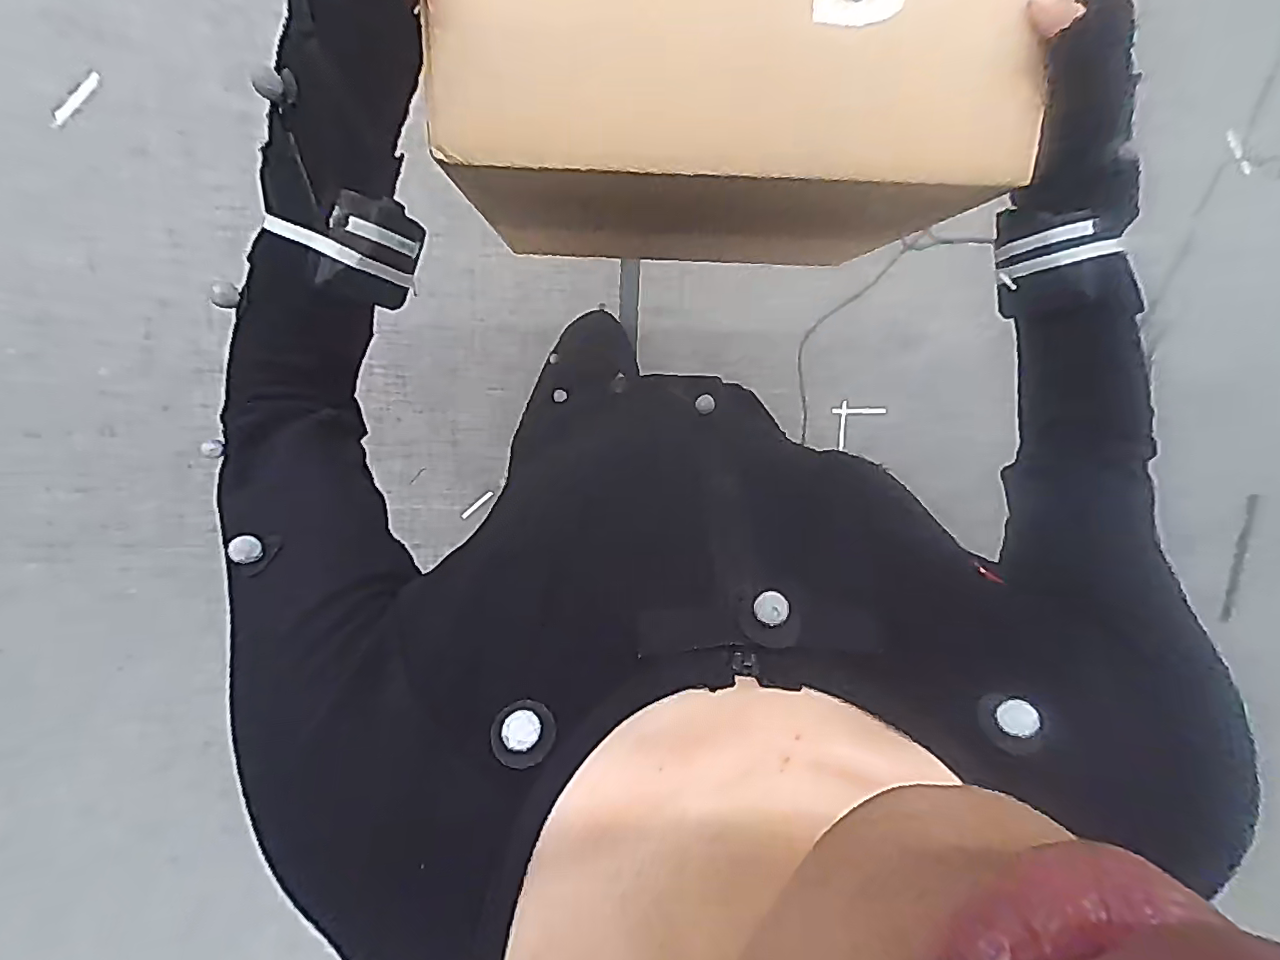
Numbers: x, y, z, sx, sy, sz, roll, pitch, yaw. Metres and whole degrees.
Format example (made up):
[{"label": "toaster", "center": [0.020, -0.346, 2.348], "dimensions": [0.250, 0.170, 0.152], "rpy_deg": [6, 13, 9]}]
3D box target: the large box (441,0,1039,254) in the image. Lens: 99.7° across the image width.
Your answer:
[{"label": "large box", "center": [0.059, -0.397, 0.486], "dimensions": [0.408, 0.320, 0.320], "rpy_deg": [0, 103, -4]}]
